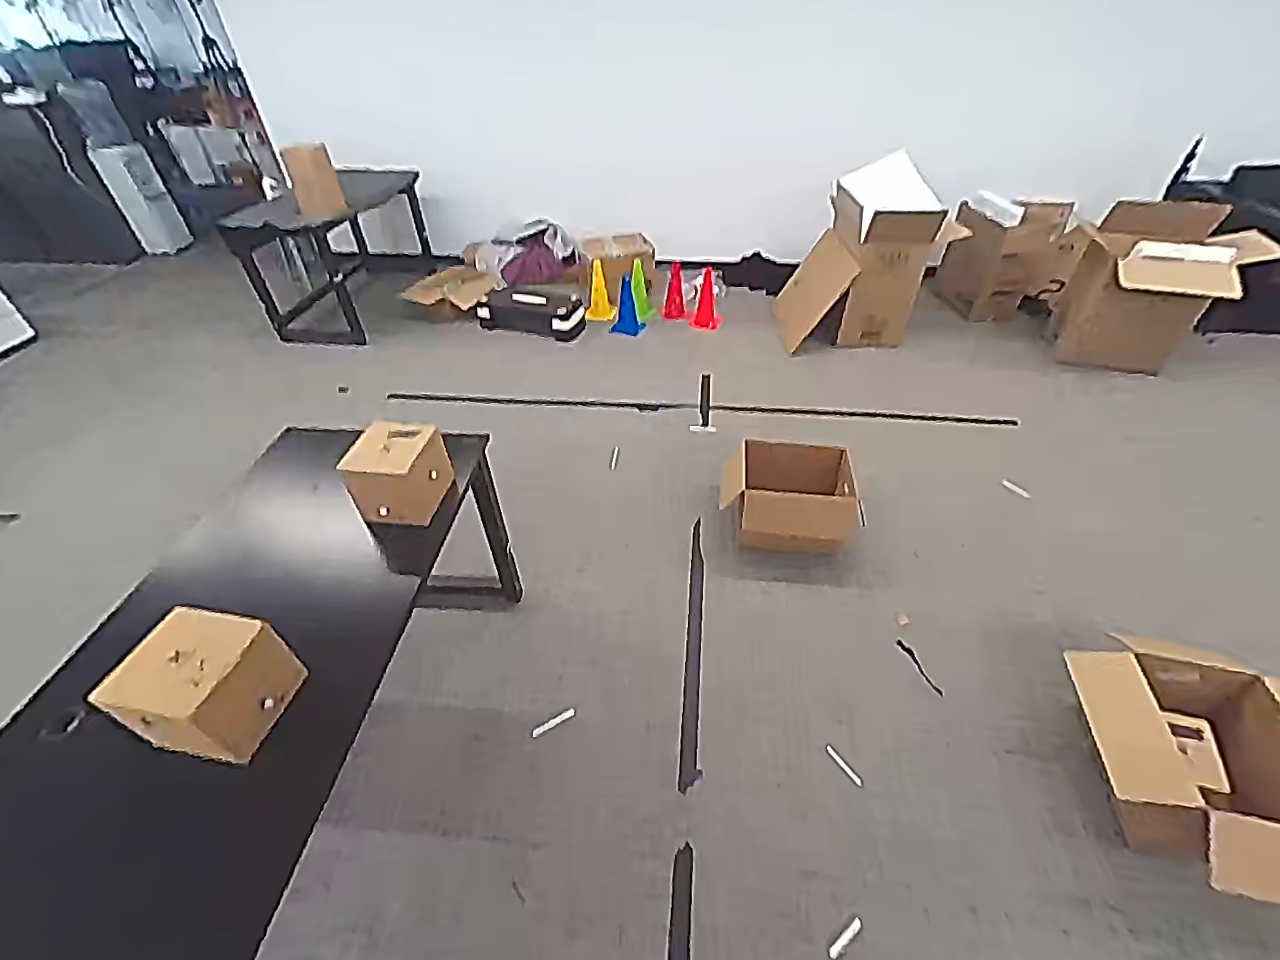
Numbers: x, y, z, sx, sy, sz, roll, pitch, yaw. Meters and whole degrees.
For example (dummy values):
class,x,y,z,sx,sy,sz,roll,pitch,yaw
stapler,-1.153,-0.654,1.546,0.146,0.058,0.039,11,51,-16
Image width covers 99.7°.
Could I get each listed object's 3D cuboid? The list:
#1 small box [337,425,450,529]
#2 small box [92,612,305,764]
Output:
class,x,y,z,sx,sy,sz,roll,pitch,yaw
small box,-0.570,-0.009,1.282,0.168,0.176,0.179,3,43,6
small box,-0.709,0.345,0.893,0.179,0.176,0.168,6,43,9
